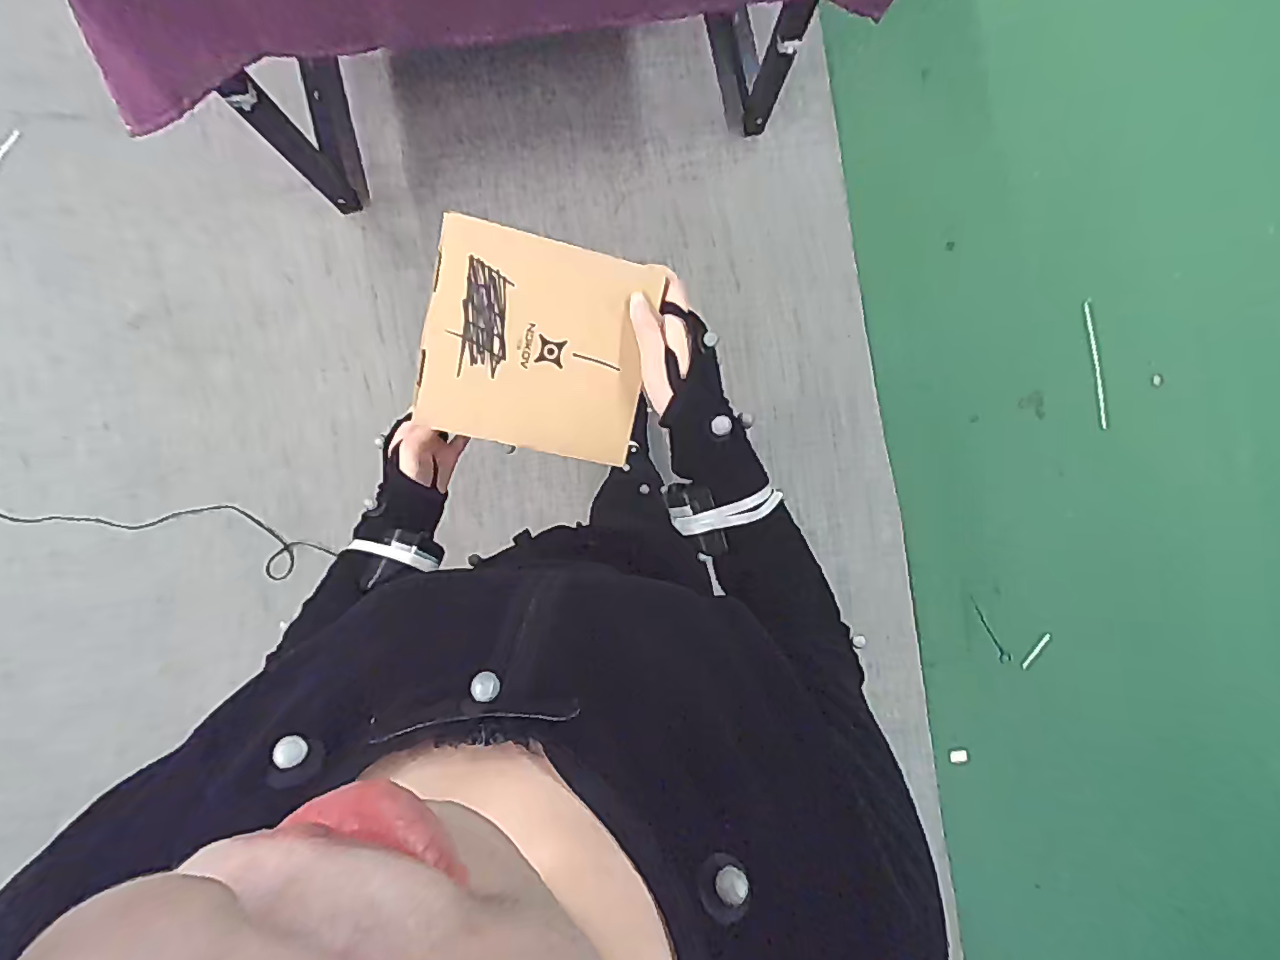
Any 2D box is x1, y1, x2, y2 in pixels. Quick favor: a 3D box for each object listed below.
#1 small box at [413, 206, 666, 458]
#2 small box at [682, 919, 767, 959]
[{"bbox_3d":[-0.092,-0.128,0.511,0.179,0.176,0.168,12,100,-12],"label":"small box"},{"bbox_3d":[0.187,1.077,1.132,0.179,0.176,0.168,-10,94,-3],"label":"small box"}]
